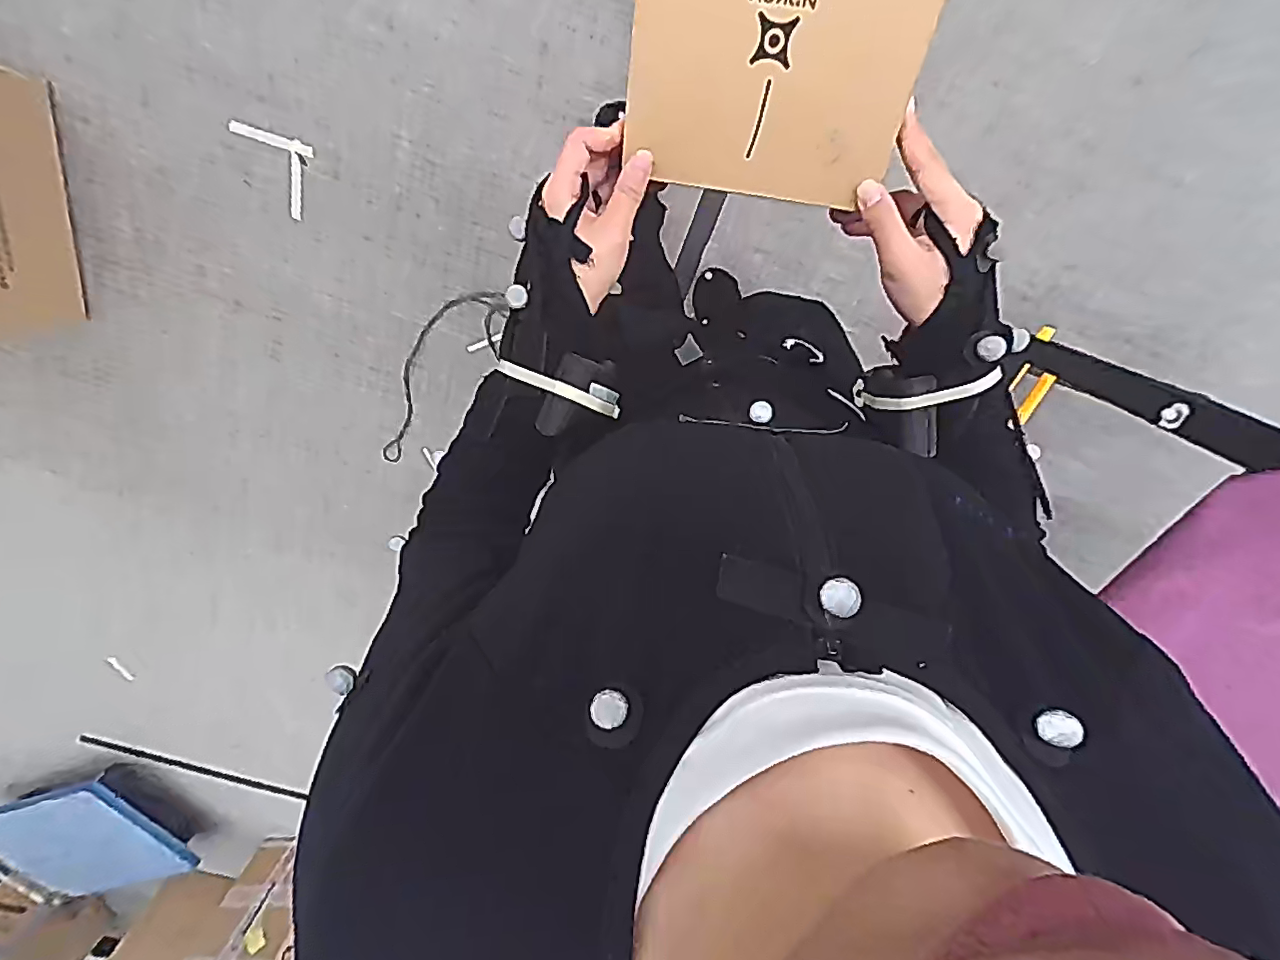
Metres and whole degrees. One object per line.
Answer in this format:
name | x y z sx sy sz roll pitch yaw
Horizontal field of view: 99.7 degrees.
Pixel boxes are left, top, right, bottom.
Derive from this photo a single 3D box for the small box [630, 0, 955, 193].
small box | 0.094 -0.309 0.351 0.168 0.176 0.179 10 128 2
